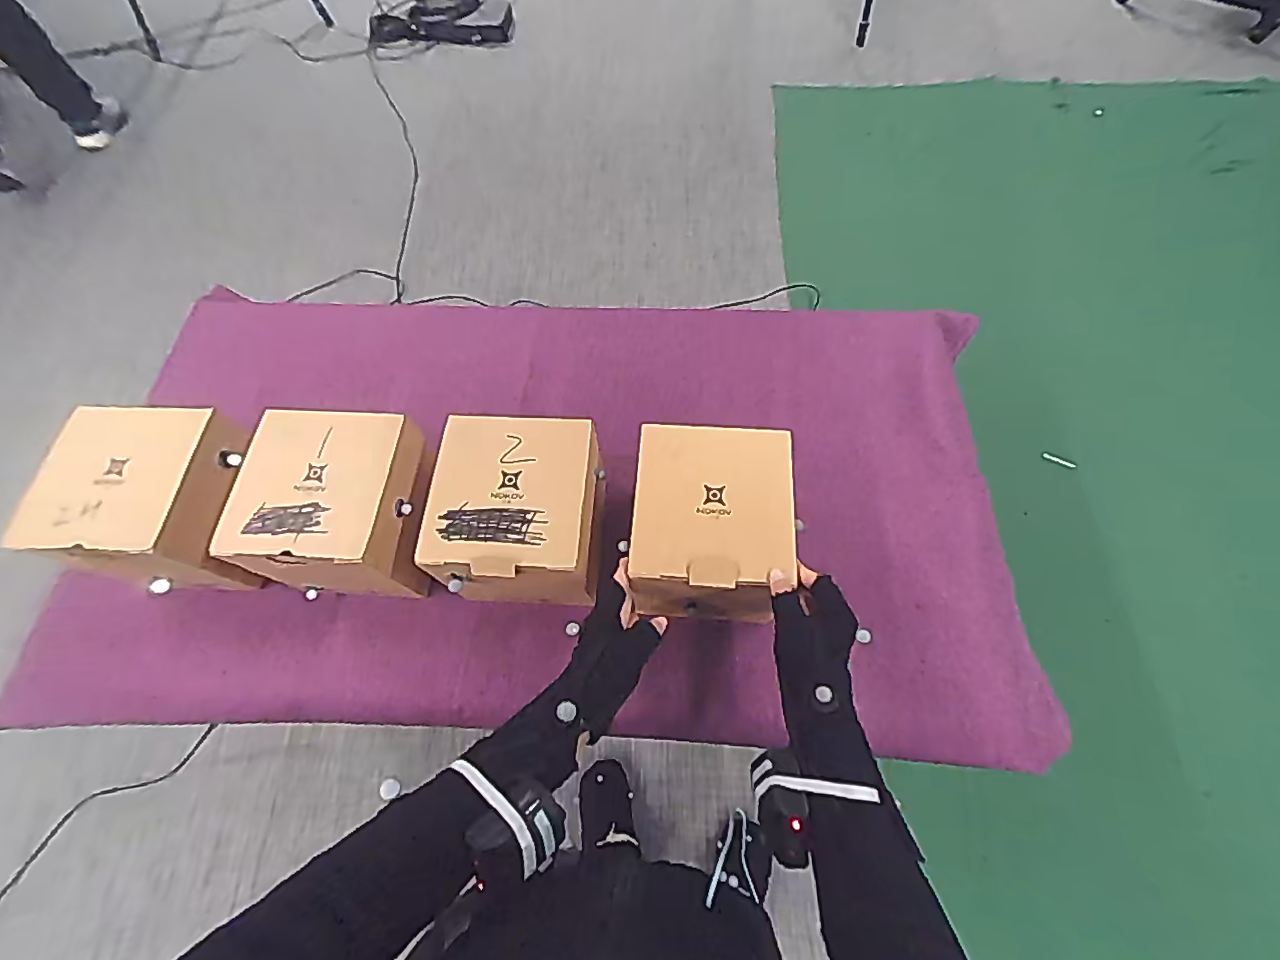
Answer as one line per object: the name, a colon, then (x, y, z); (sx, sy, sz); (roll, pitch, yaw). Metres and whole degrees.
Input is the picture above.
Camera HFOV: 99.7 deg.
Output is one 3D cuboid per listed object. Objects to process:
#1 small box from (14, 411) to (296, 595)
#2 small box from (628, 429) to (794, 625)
small box: (-0.570, 0.033, 0.670); (0.168, 0.176, 0.179); (1, 65, 3)
small box: (0.078, 0.061, 0.637); (0.168, 0.176, 0.179); (3, 65, 4)
